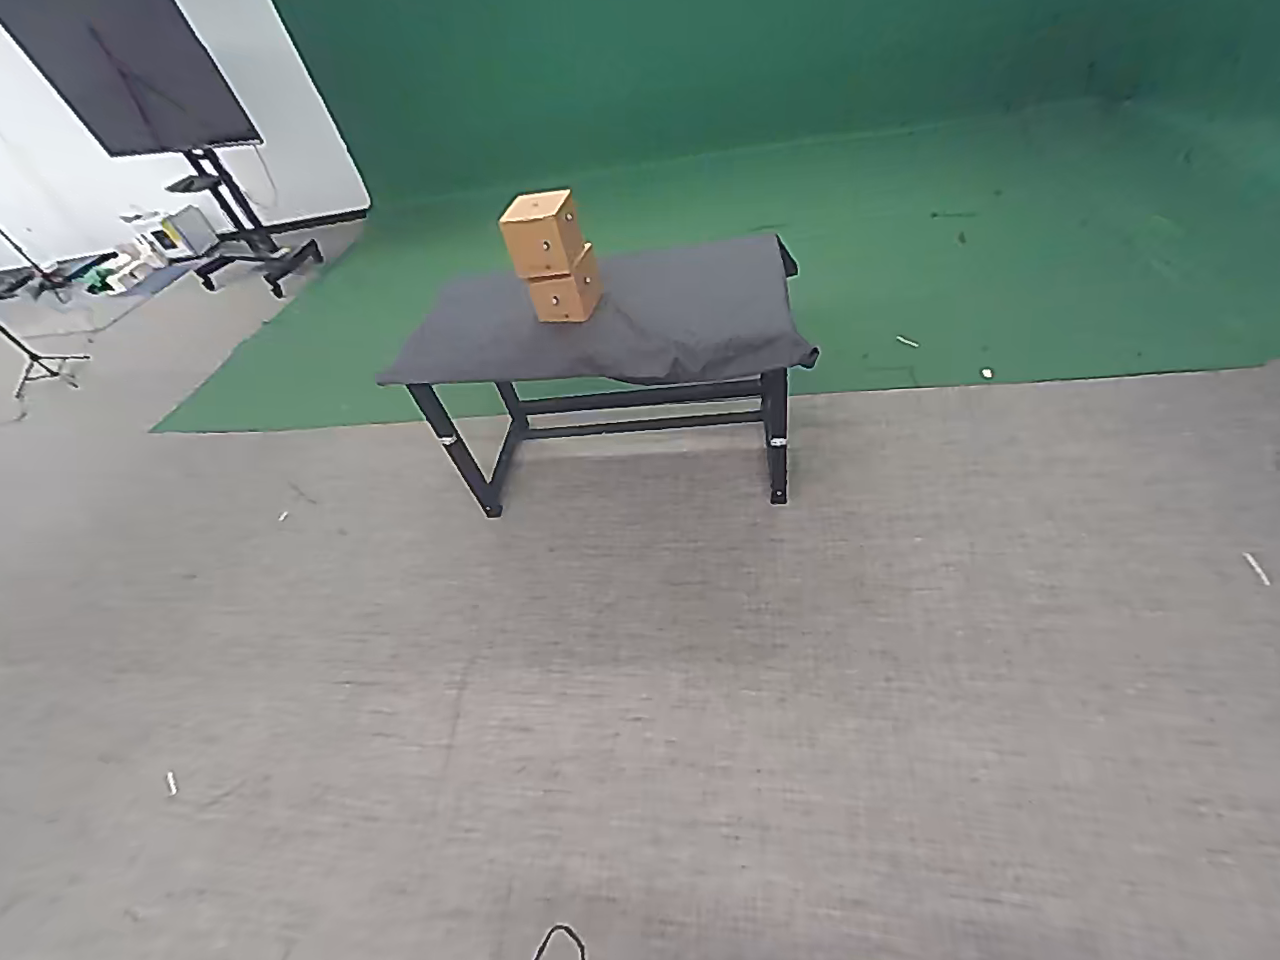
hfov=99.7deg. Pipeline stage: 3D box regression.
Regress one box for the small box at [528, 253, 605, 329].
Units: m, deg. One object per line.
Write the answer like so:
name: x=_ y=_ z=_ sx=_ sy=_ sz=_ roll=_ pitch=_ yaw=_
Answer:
small box: x=-0.221 y=-0.590 z=1.701 sx=0.168 sy=0.176 sz=0.179 roll=5 pitch=49 yaw=19

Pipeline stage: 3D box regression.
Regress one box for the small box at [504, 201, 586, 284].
small box: x=-0.266 y=-0.683 z=1.572 sx=0.168 sy=0.176 sz=0.179 roll=1 pitch=47 yaw=14
